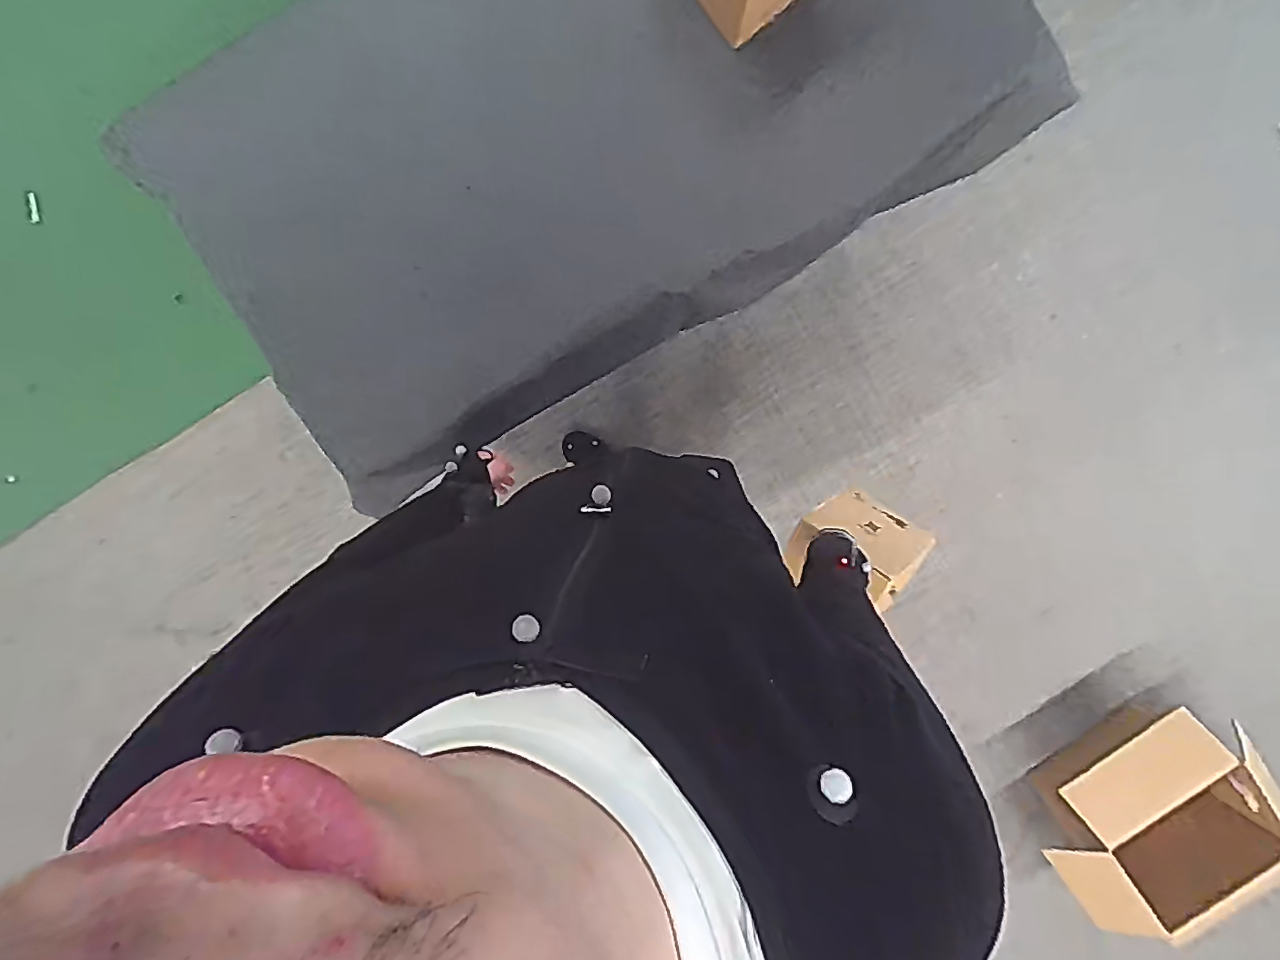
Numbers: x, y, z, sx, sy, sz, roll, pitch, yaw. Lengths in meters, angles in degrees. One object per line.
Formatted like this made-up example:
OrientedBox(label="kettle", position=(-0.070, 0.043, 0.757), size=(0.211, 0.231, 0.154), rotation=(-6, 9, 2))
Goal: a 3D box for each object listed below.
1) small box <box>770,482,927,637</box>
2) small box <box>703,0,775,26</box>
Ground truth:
OrientedBox(label="small box", position=(0.348, 0.137, 0.935), size=(0.168, 0.179, 0.176), rotation=(41, 134, 28))
OrientedBox(label="small box", position=(0.144, -0.725, 0.671), size=(0.168, 0.176, 0.179), rotation=(-39, 95, 1))
